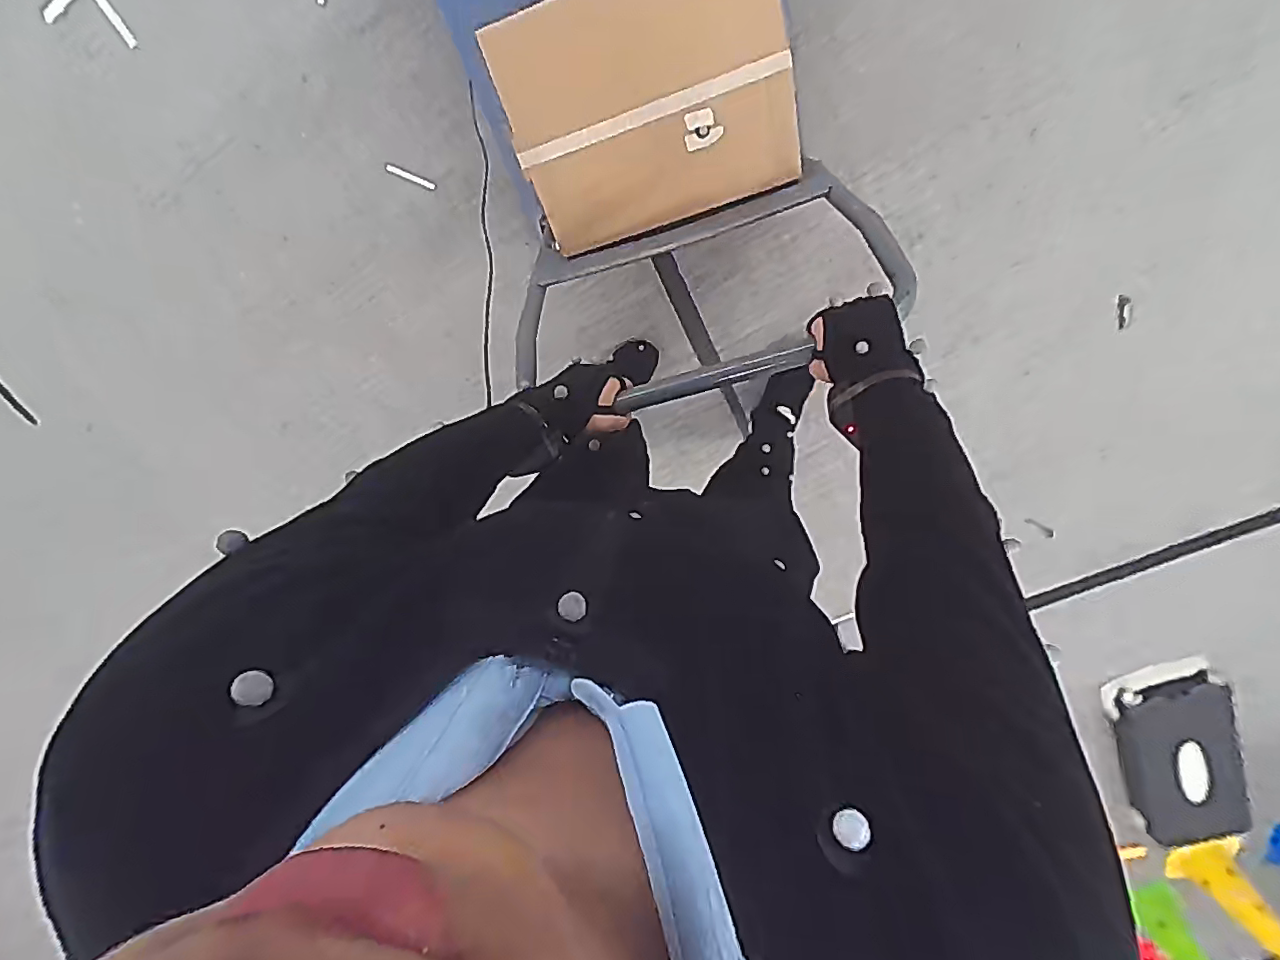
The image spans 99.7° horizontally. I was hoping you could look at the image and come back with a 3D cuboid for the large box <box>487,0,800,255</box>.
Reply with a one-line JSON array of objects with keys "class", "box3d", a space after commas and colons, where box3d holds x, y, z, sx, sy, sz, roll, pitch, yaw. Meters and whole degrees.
[{"class": "large box", "box3d": [0.014, -0.639, 0.918, 0.408, 0.320, 0.320, -16, 128, 10]}]
